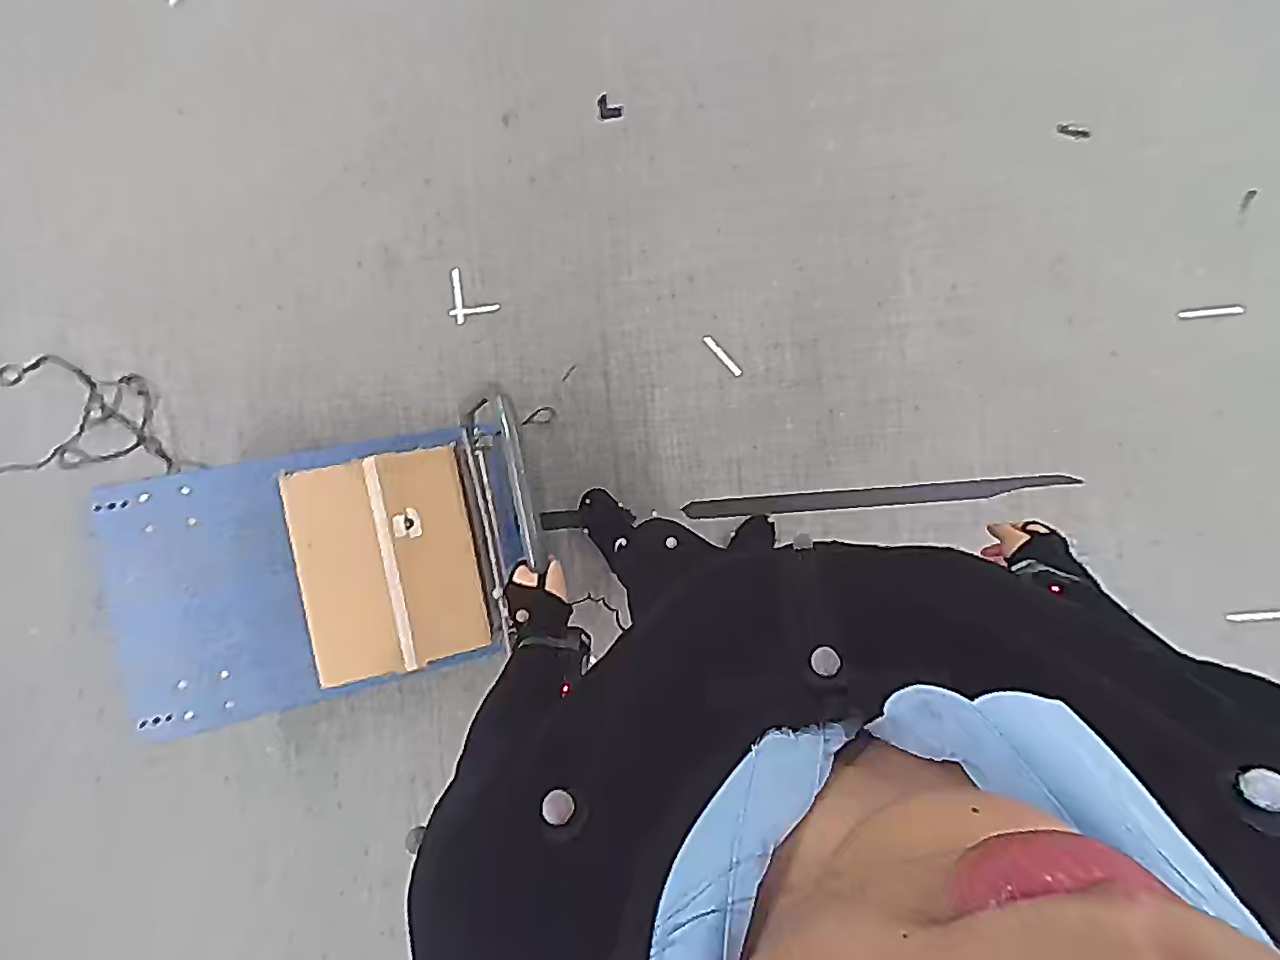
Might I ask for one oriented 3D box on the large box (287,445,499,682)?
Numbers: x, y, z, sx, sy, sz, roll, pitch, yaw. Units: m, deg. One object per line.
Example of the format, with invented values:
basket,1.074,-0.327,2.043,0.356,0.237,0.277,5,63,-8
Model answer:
large box,-0.507,0.163,1.185,0.320,0.320,0.408,-12,90,-15
